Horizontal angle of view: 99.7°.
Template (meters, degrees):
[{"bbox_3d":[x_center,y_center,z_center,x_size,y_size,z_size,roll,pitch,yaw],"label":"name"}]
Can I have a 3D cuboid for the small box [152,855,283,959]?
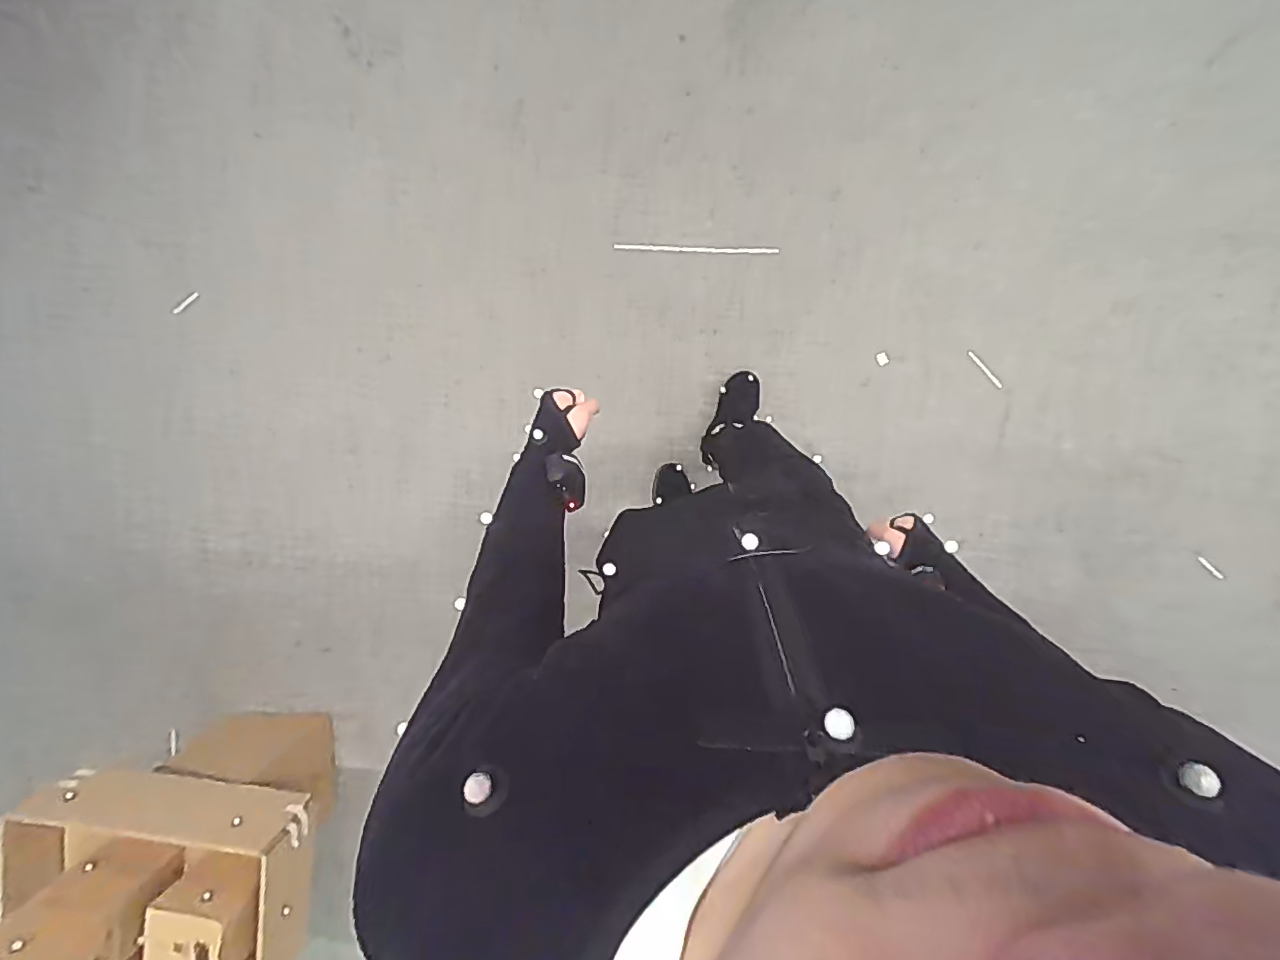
[{"bbox_3d":[-0.959,1.004,1.239,0.179,0.176,0.168,7,93,4],"label":"small box"}]

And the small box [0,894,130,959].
[{"bbox_3d":[-1.199,0.984,1.092,0.179,0.176,0.168,6,93,0],"label":"small box"}]
